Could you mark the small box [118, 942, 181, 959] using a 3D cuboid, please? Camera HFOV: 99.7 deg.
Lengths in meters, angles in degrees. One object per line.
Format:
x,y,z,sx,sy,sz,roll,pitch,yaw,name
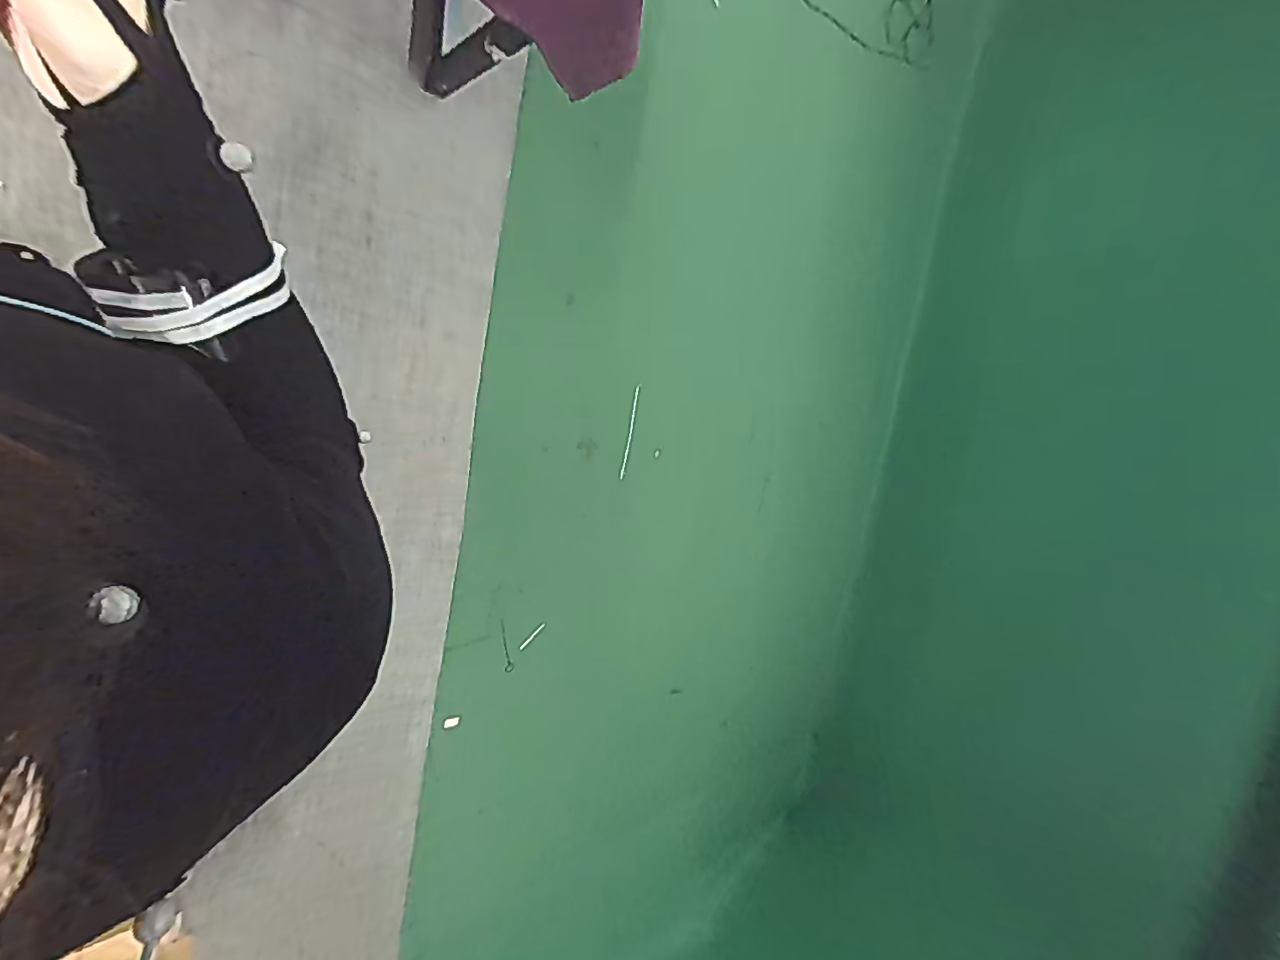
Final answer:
-0.848,0.906,0.869,0.168,0.176,0.179,4,100,-46,small box
